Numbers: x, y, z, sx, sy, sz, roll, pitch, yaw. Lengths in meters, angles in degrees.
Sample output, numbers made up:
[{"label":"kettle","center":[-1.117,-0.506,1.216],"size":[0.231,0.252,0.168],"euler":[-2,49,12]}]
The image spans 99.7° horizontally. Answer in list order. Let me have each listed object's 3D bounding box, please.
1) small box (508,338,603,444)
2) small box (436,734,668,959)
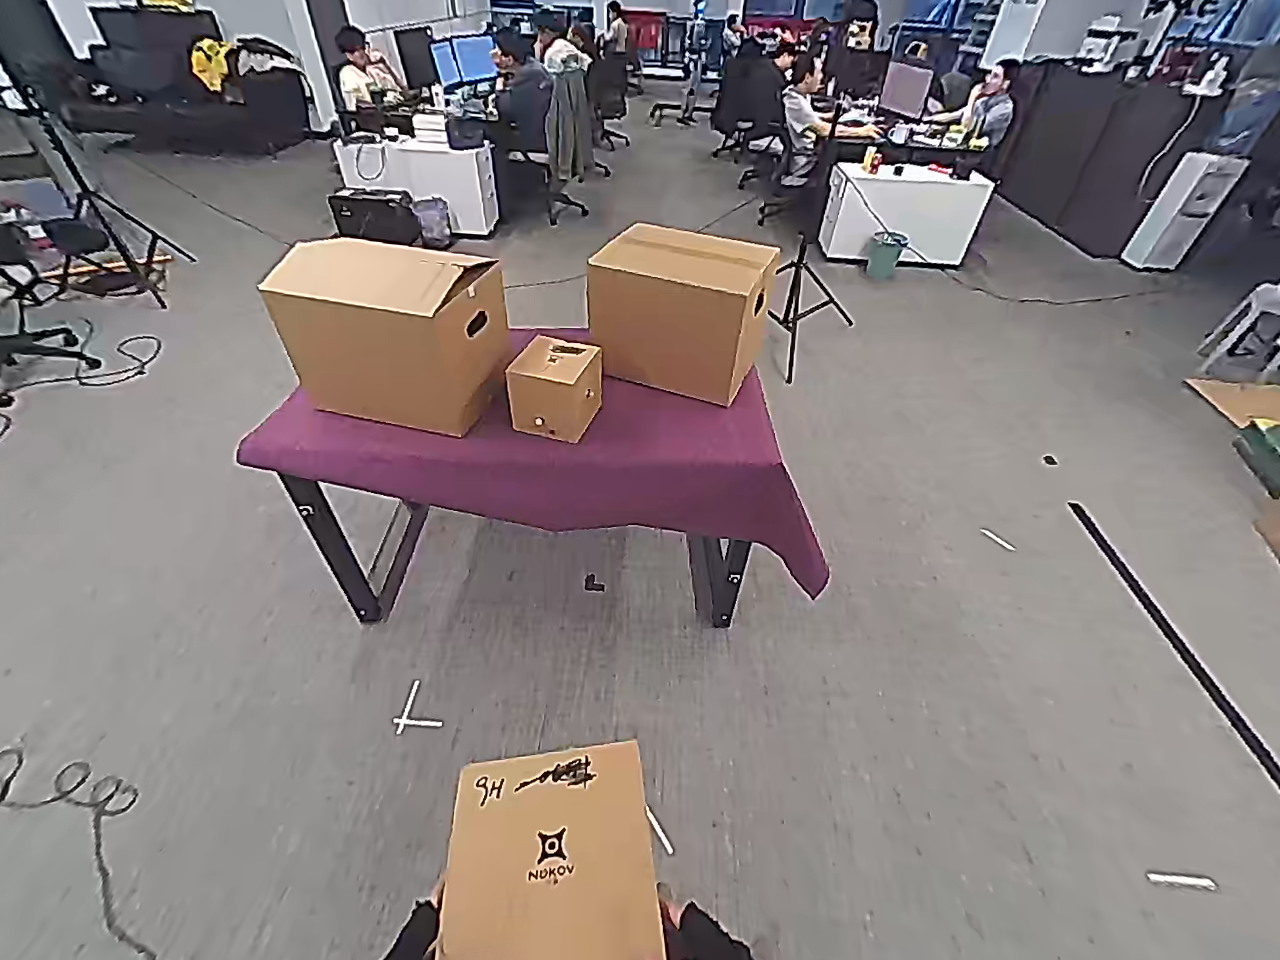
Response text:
[{"label":"small box","center":[-0.195,-0.213,1.291],"size":[0.168,0.176,0.179],"euler":[13,44,11]},{"label":"small box","center":[-0.066,0.359,0.476],"size":[0.168,0.176,0.179],"euler":[-6,37,-5]}]
